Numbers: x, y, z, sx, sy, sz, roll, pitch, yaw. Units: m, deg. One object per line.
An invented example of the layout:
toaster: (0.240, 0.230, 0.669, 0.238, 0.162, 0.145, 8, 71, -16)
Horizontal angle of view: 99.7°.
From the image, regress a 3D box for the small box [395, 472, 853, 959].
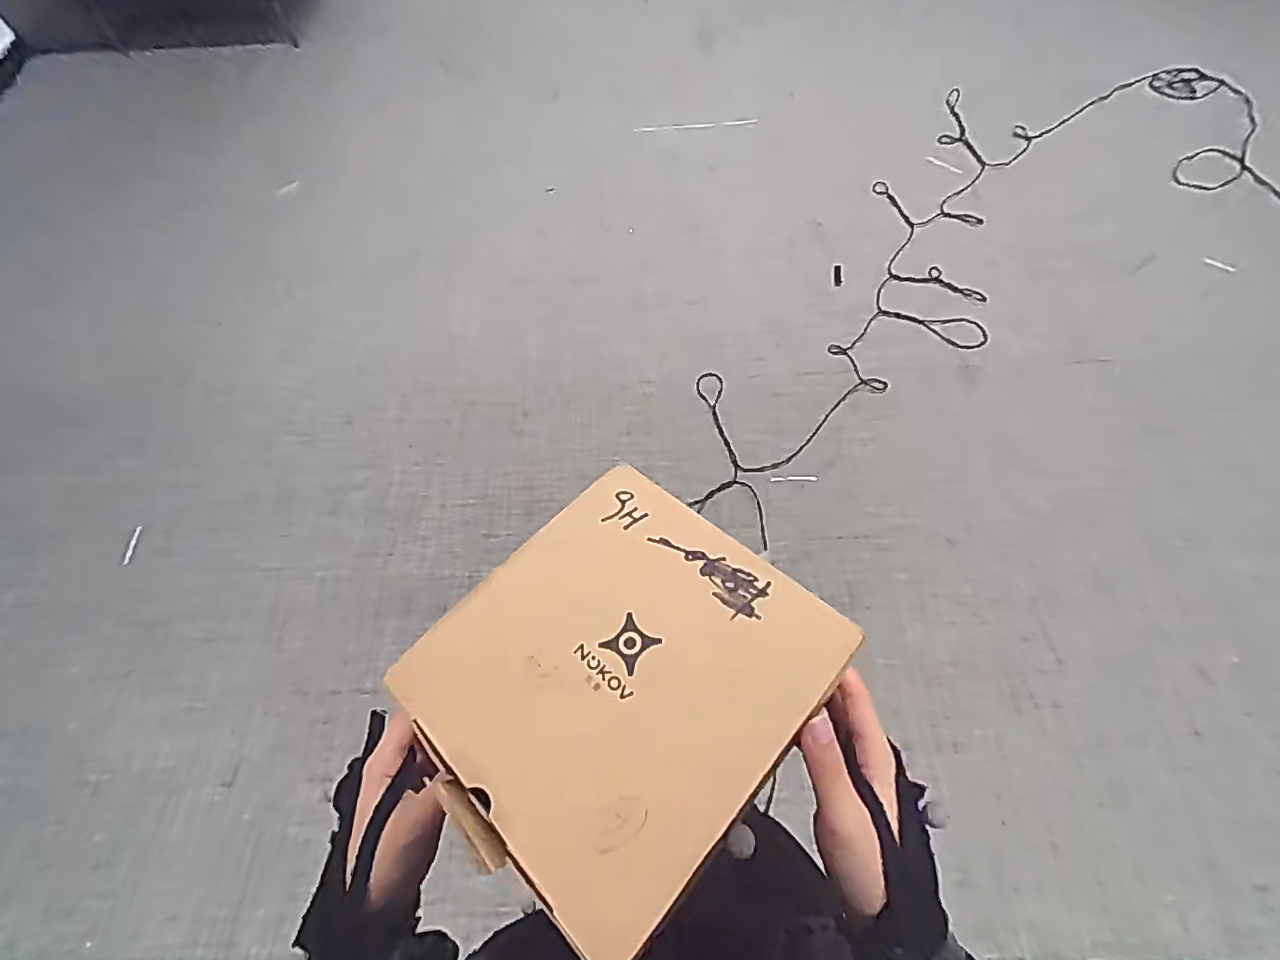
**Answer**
small box: (-0.001, 0.136, 0.332, 0.168, 0.176, 0.179, 35, 67, 28)
